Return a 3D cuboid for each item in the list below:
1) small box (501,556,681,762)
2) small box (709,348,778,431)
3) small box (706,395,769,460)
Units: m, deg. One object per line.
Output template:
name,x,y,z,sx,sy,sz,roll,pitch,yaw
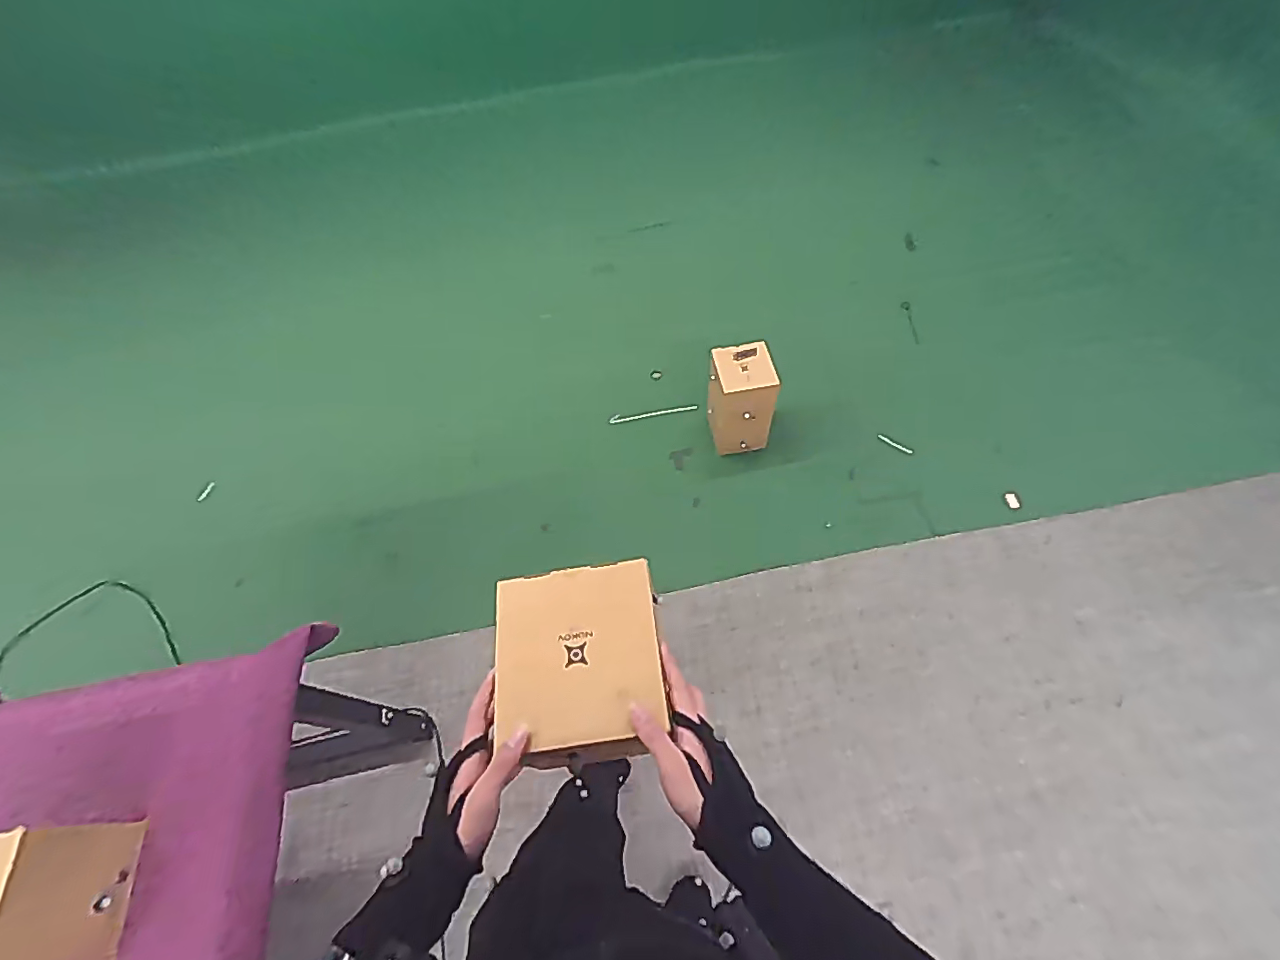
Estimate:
small box,-0.048,0.207,0.604,0.168,0.176,0.179,-9,57,0
small box,0.311,-0.277,1.665,0.168,0.176,0.179,-9,60,-1
small box,0.319,-0.192,1.806,0.168,0.176,0.179,-9,59,-1
